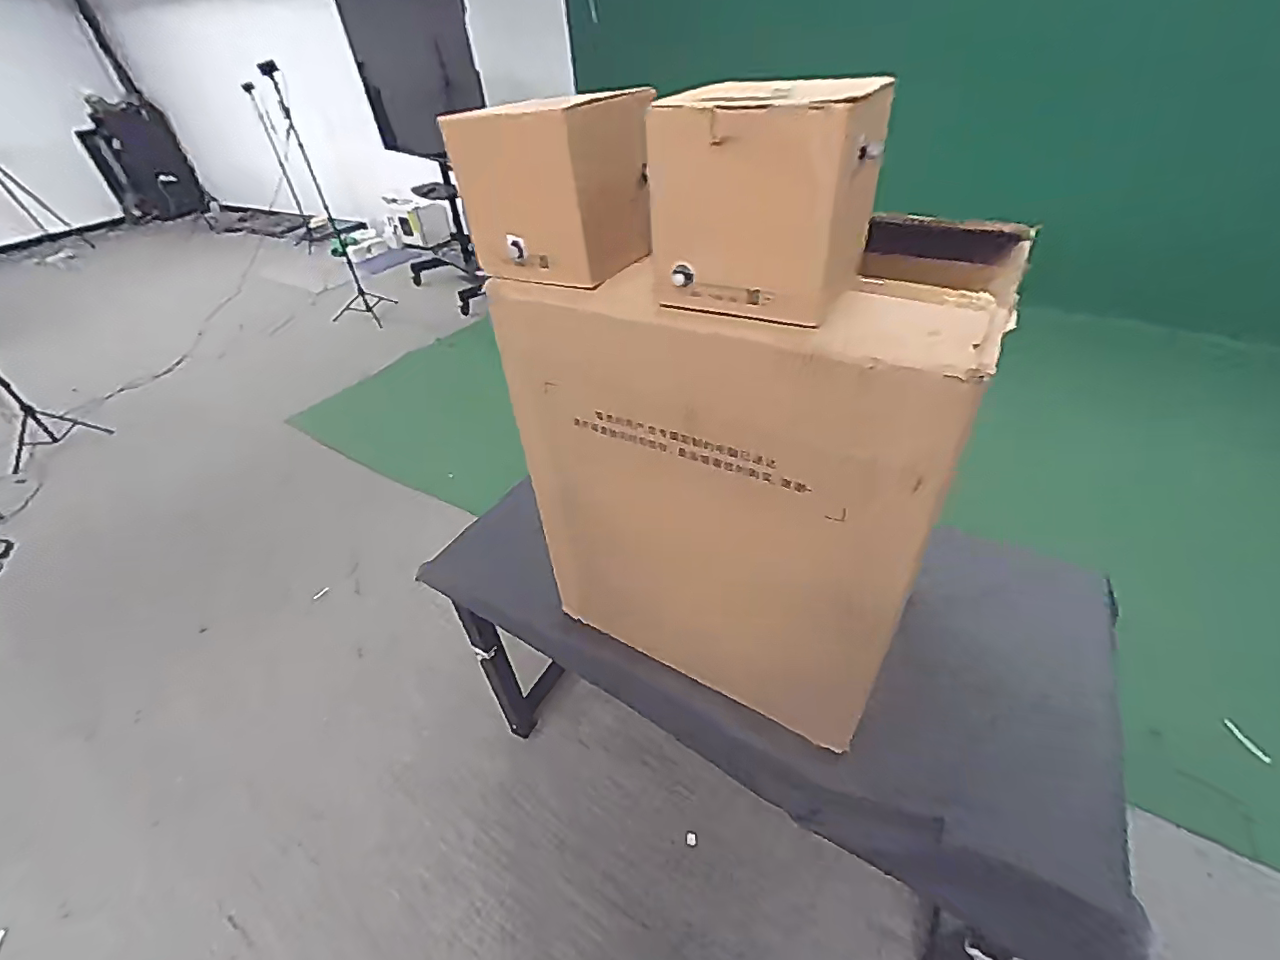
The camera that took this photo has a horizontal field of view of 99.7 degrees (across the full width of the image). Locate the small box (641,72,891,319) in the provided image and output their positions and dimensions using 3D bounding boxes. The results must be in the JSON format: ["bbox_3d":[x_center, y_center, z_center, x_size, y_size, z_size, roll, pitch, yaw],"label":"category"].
[{"bbox_3d":[0.118,-0.269,0.512,0.168,0.176,0.179,18,45,25],"label":"small box"}]

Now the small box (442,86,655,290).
[{"bbox_3d":[-0.088,-0.340,0.629,0.168,0.176,0.179,15,45,27],"label":"small box"}]
